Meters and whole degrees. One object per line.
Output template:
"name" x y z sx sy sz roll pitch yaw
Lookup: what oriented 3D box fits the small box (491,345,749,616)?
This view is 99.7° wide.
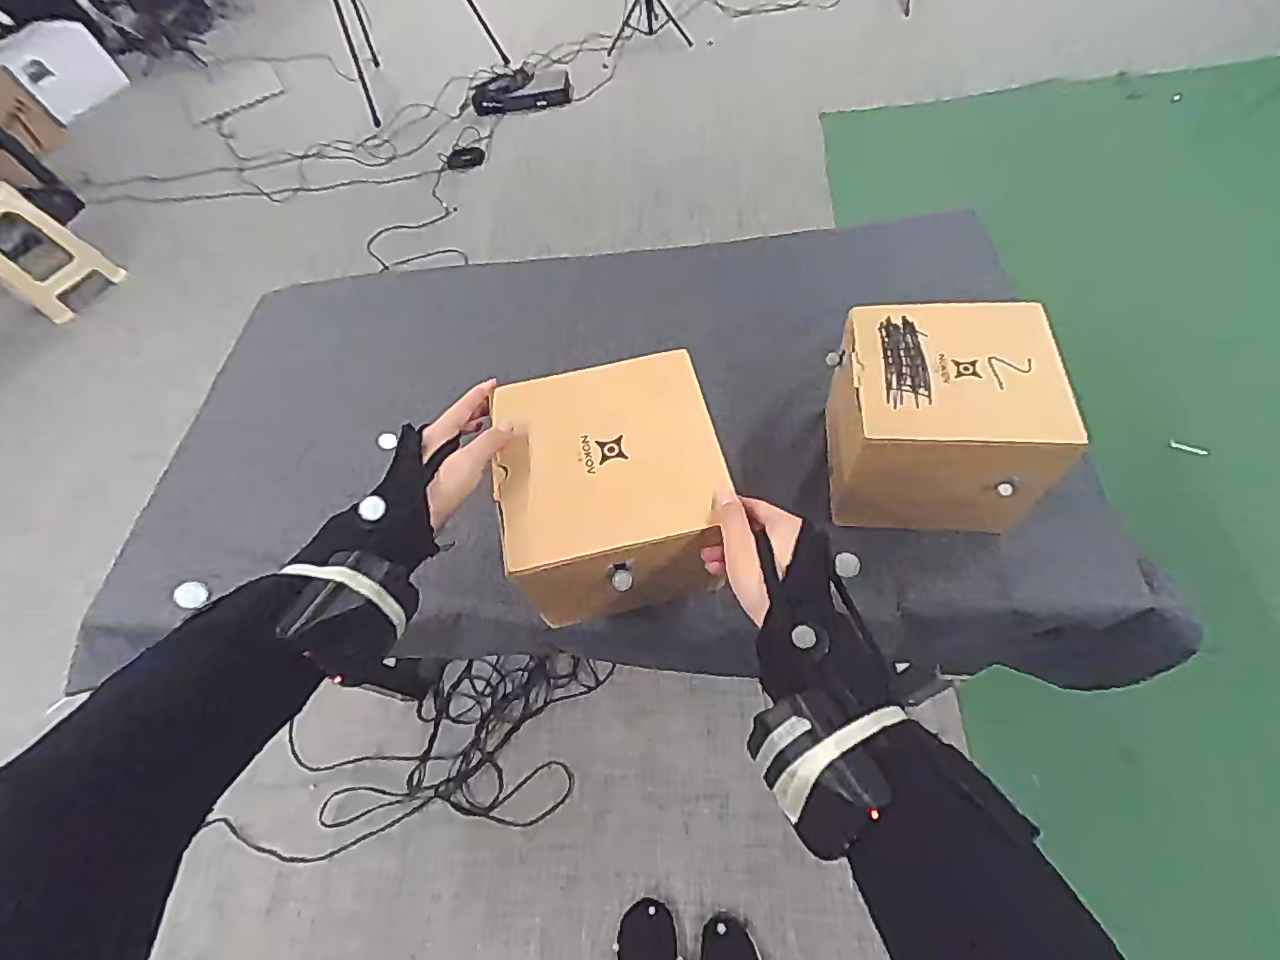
"small box" -0.019 0.010 0.486 0.179 0.176 0.168 -13 63 -3
